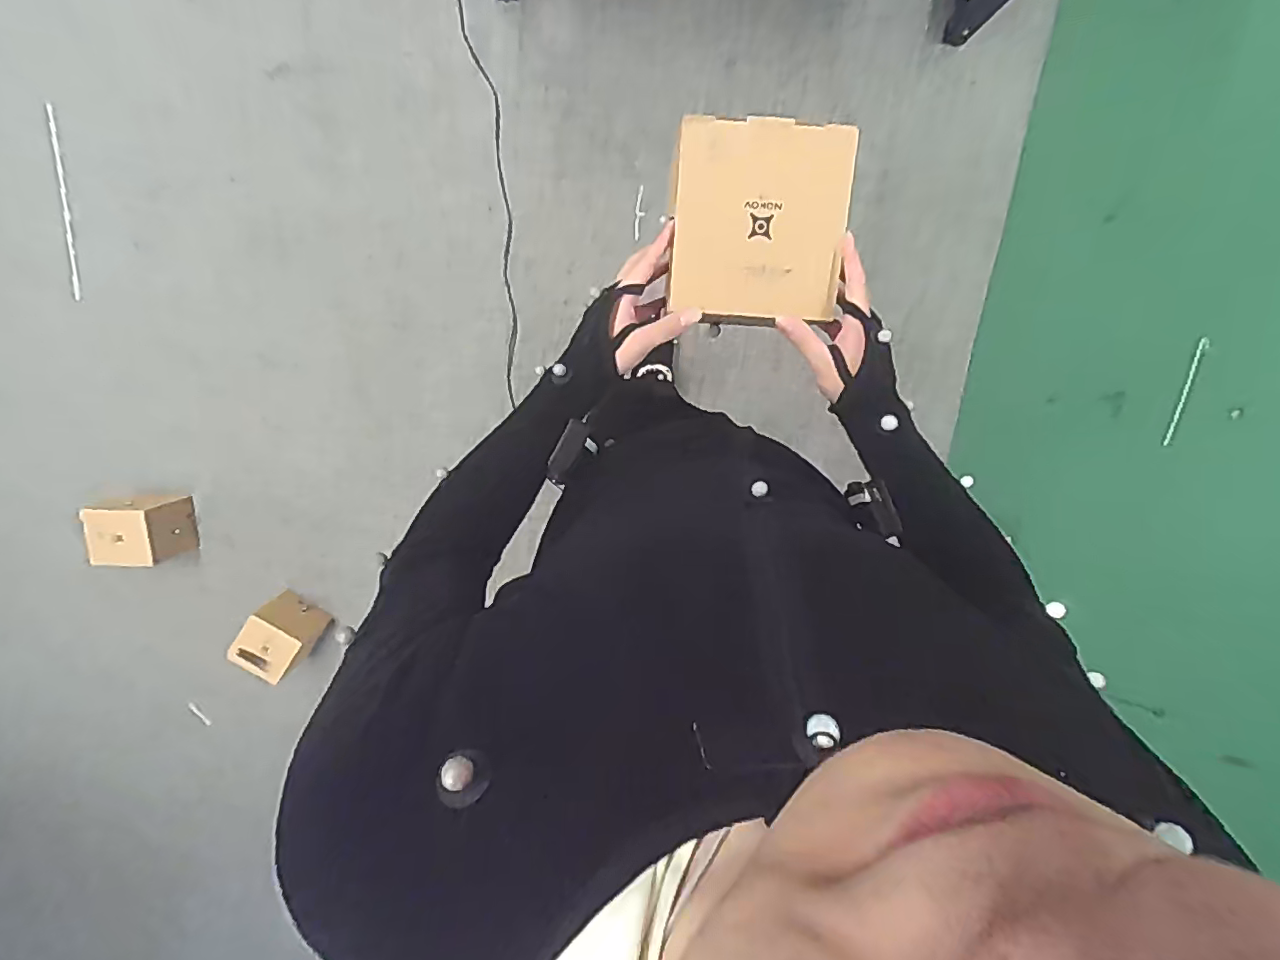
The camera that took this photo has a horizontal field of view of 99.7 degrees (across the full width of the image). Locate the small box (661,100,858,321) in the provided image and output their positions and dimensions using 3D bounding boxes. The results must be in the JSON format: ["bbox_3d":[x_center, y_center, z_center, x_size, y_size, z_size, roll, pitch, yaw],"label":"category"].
[{"bbox_3d":[0.112,-0.272,0.586,0.168,0.176,0.179,4,104,-1],"label":"small box"}]

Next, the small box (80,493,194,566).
[{"bbox_3d":[-1.438,0.138,1.563,0.179,0.176,0.168,3,103,-1],"label":"small box"}]
